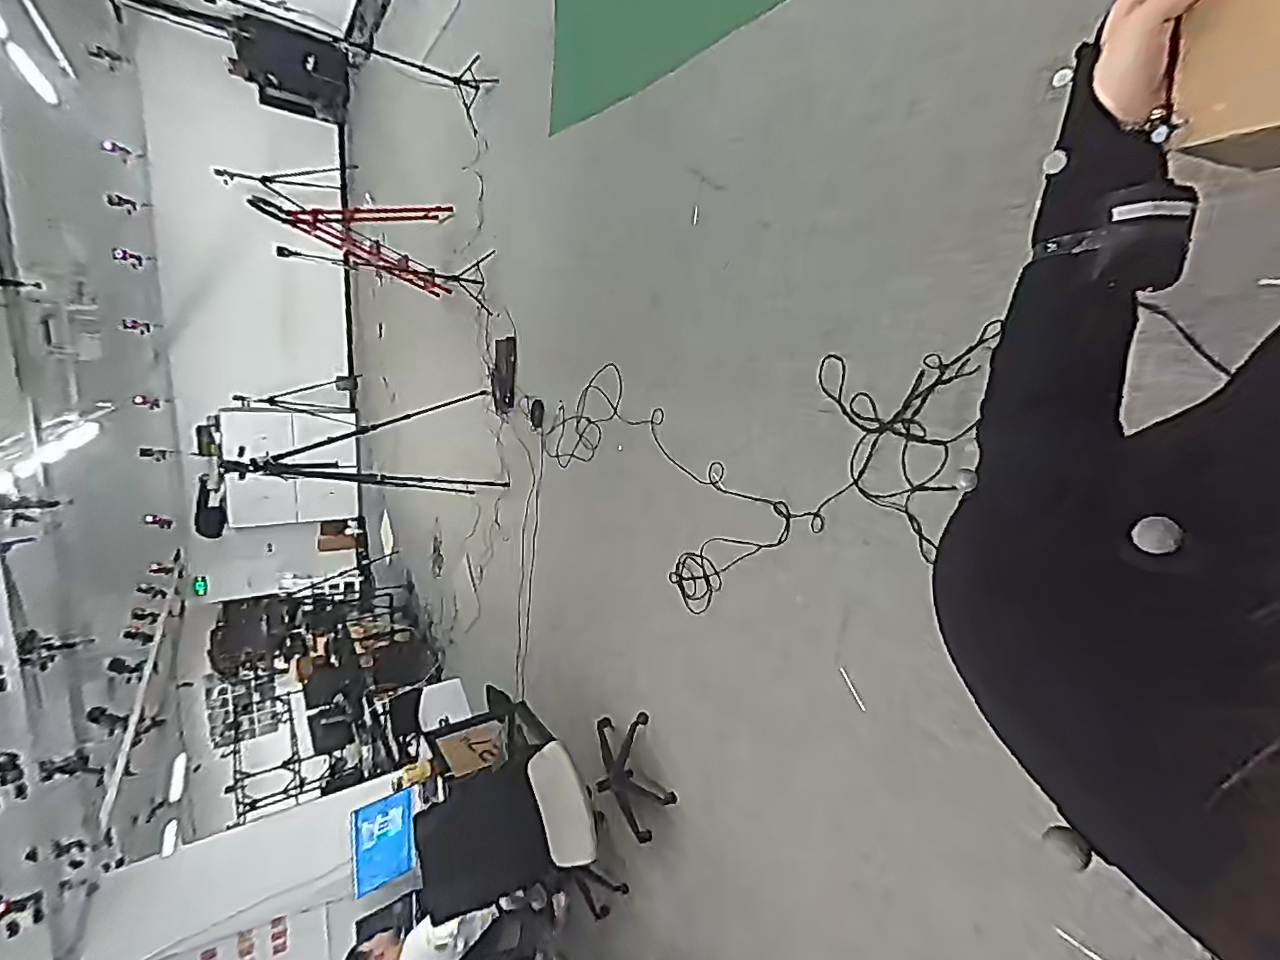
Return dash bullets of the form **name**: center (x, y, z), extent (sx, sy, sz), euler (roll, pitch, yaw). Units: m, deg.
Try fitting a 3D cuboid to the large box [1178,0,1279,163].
- **large box**: center (0.598, -0.391, 0.264), extent (0.408, 0.320, 0.320), euler (15, 116, 54)
